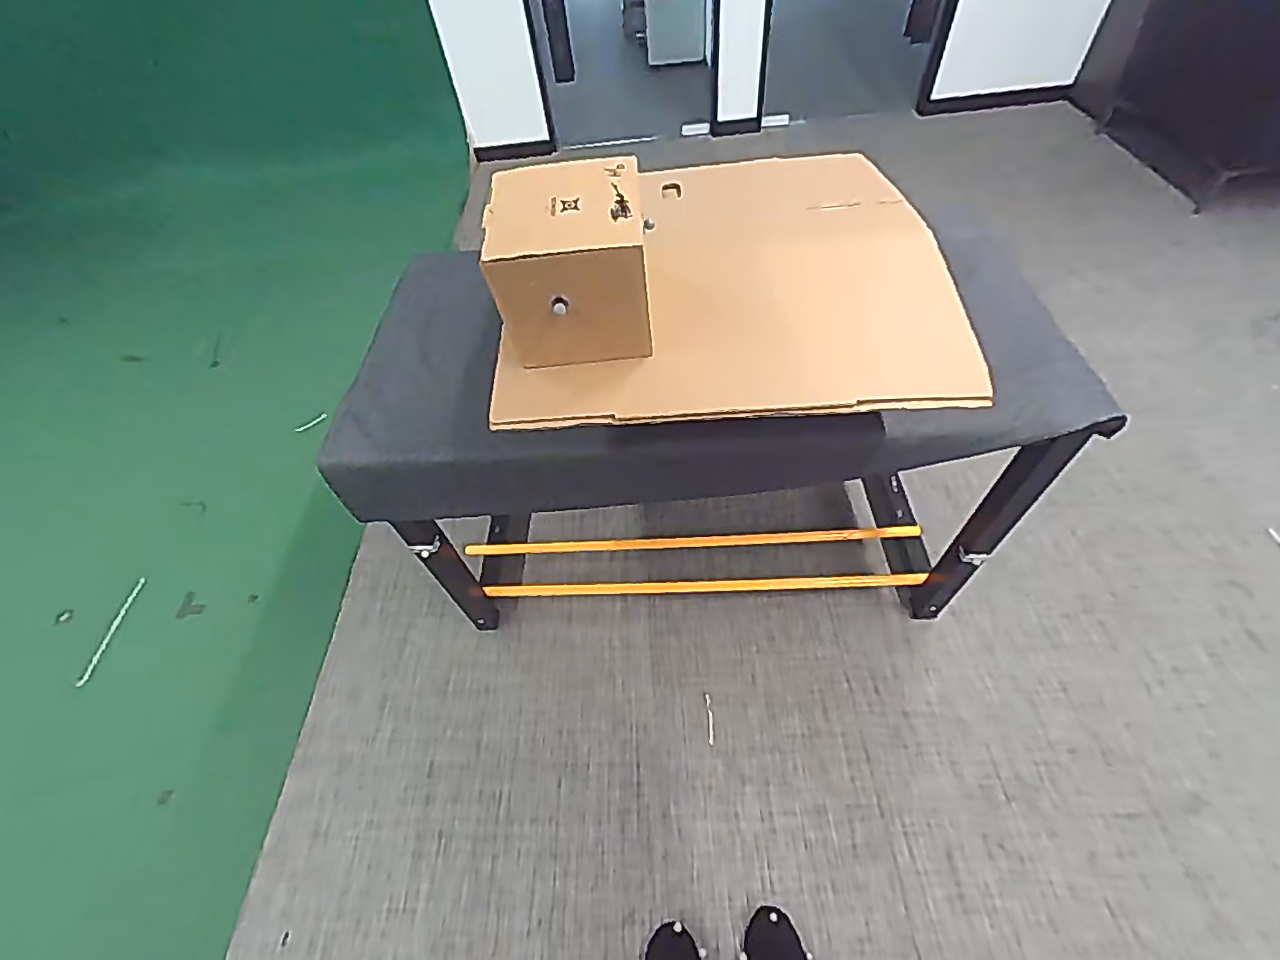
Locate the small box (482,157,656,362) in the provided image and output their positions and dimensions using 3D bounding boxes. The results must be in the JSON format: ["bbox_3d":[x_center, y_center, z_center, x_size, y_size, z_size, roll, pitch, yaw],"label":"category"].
[{"bbox_3d":[-0.077,-0.265,0.676,0.179,0.176,0.168,-5,60,4],"label":"small box"}]
